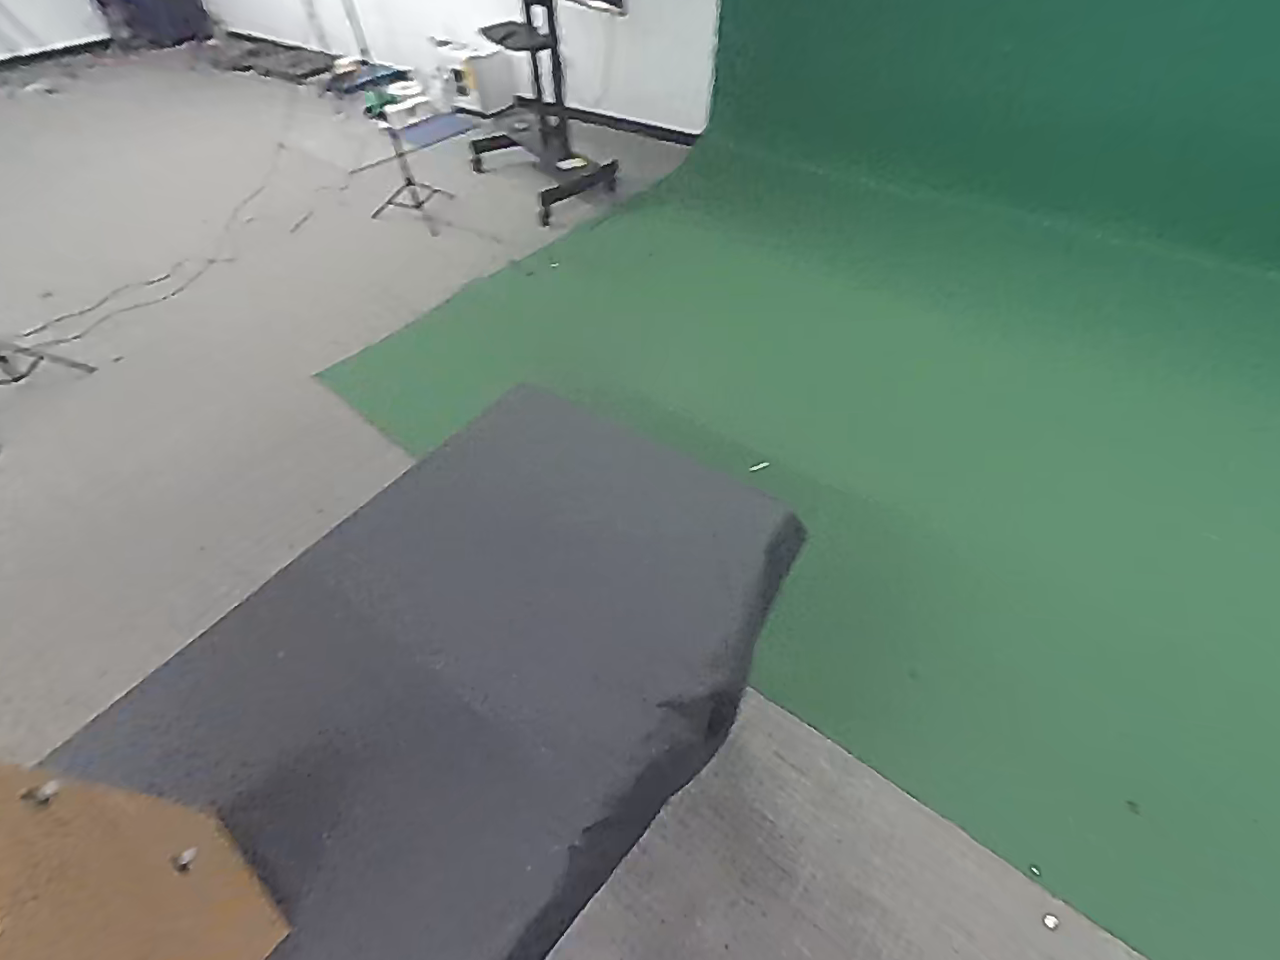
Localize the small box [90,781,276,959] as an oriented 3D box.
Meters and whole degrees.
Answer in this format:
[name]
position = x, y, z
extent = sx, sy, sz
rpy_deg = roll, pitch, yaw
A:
[small box]
position = -0.485, 0.419, 0.494
extent = 0.179, 0.176, 0.168
rpy_deg = 29, 56, 25
